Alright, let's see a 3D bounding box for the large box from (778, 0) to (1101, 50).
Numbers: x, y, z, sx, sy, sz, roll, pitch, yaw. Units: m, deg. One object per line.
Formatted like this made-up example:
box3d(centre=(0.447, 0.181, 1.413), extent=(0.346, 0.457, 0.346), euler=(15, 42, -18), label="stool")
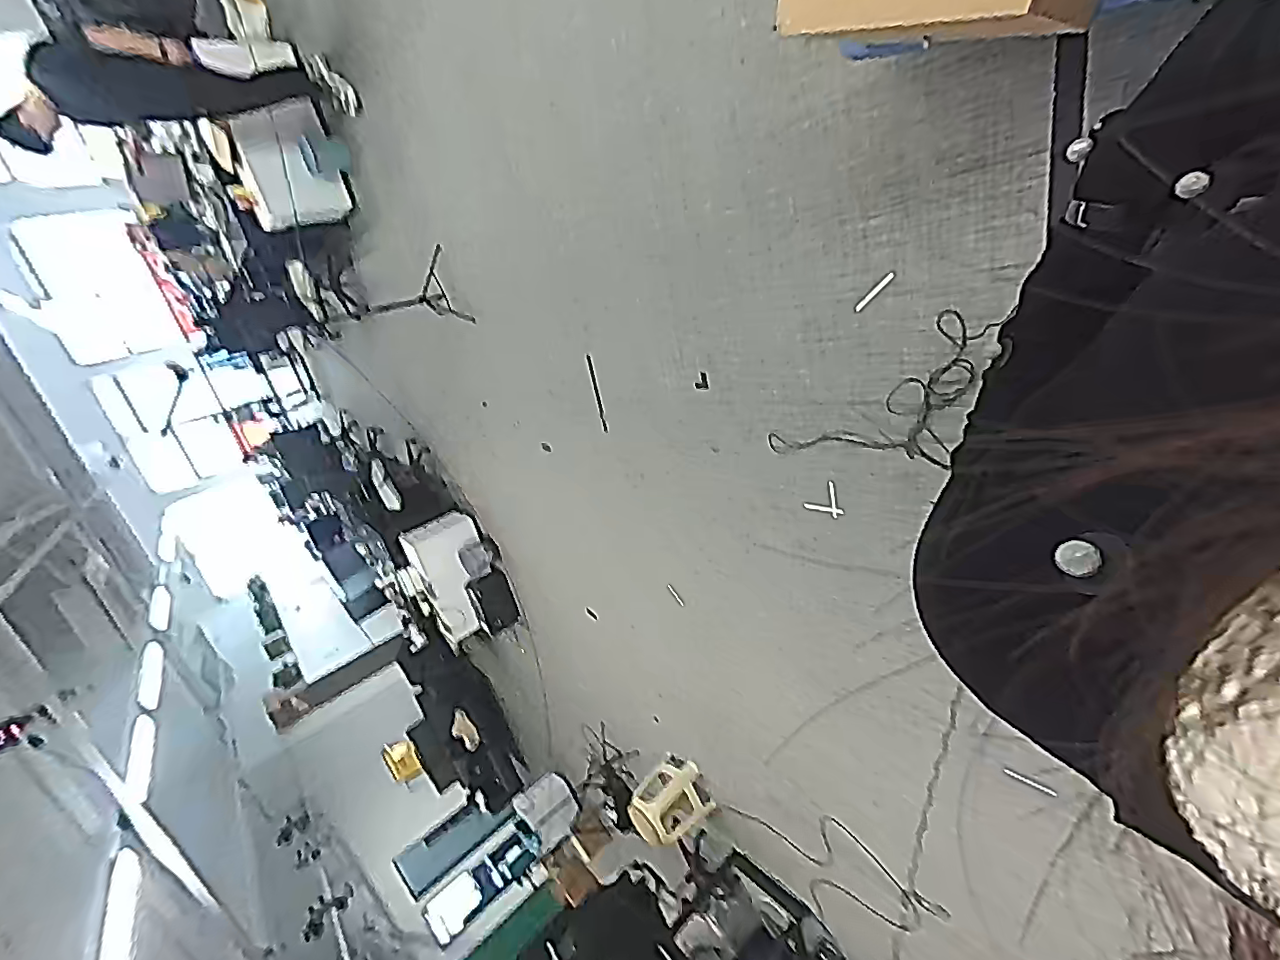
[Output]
box3d(centre=(0.484, -0.873, 0.828), extent=(0.408, 0.320, 0.320), euler=(31, 135, 37), label="large box")
